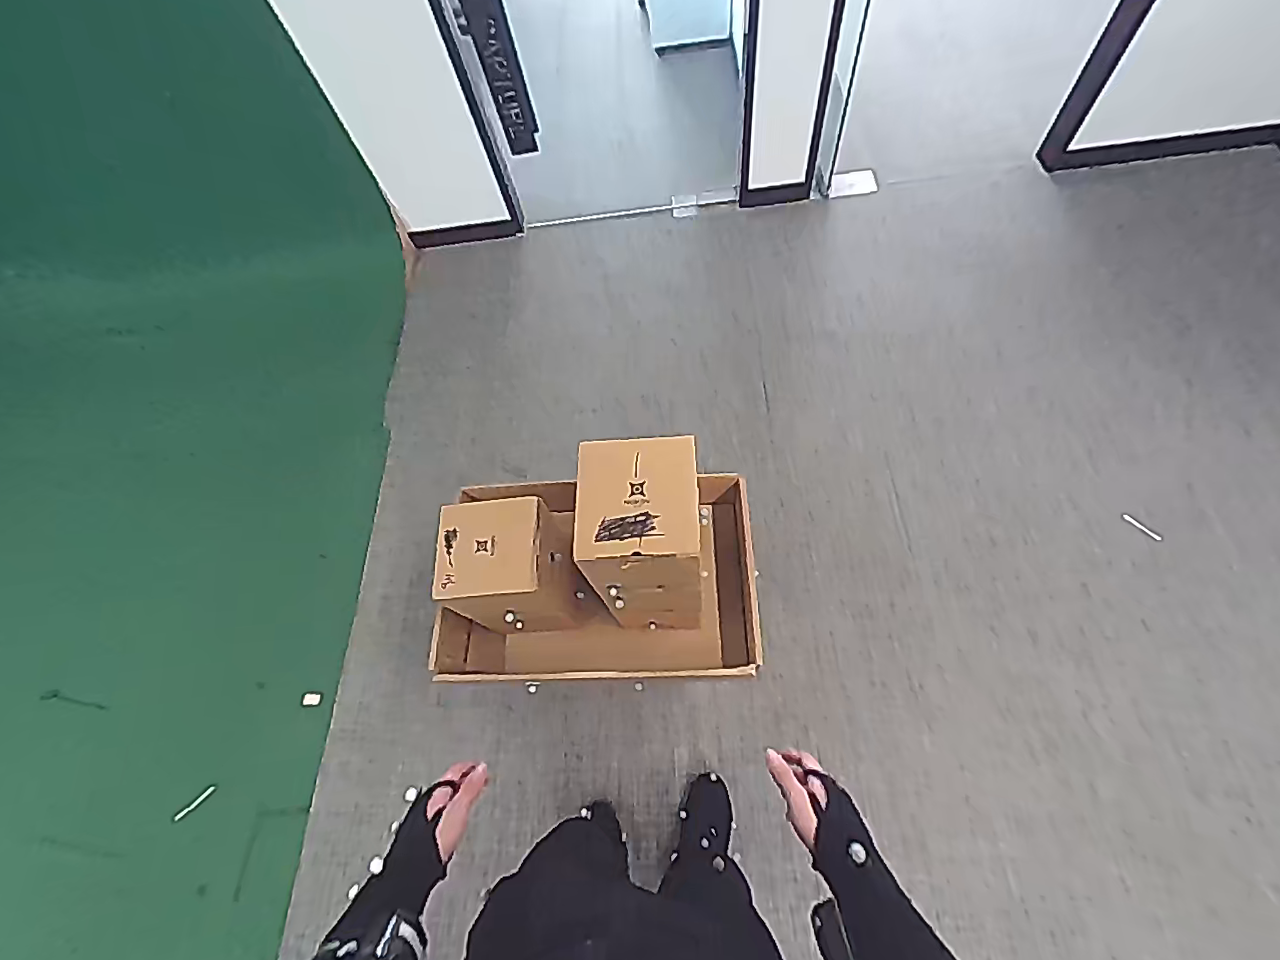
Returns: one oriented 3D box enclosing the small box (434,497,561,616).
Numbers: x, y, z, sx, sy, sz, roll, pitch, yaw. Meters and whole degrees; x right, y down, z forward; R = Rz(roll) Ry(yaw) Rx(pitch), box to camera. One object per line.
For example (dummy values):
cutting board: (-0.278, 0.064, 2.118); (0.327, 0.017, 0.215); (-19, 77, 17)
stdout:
small box: (-0.241, 0.141, 0.964); (0.179, 0.176, 0.168); (-5, 64, 3)

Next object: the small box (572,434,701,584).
small box: (0.003, 0.052, 0.793); (0.168, 0.176, 0.179); (-3, 63, 5)

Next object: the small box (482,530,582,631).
small box: (-0.224, 0.211, 1.111); (0.179, 0.176, 0.168); (-3, 64, 4)
